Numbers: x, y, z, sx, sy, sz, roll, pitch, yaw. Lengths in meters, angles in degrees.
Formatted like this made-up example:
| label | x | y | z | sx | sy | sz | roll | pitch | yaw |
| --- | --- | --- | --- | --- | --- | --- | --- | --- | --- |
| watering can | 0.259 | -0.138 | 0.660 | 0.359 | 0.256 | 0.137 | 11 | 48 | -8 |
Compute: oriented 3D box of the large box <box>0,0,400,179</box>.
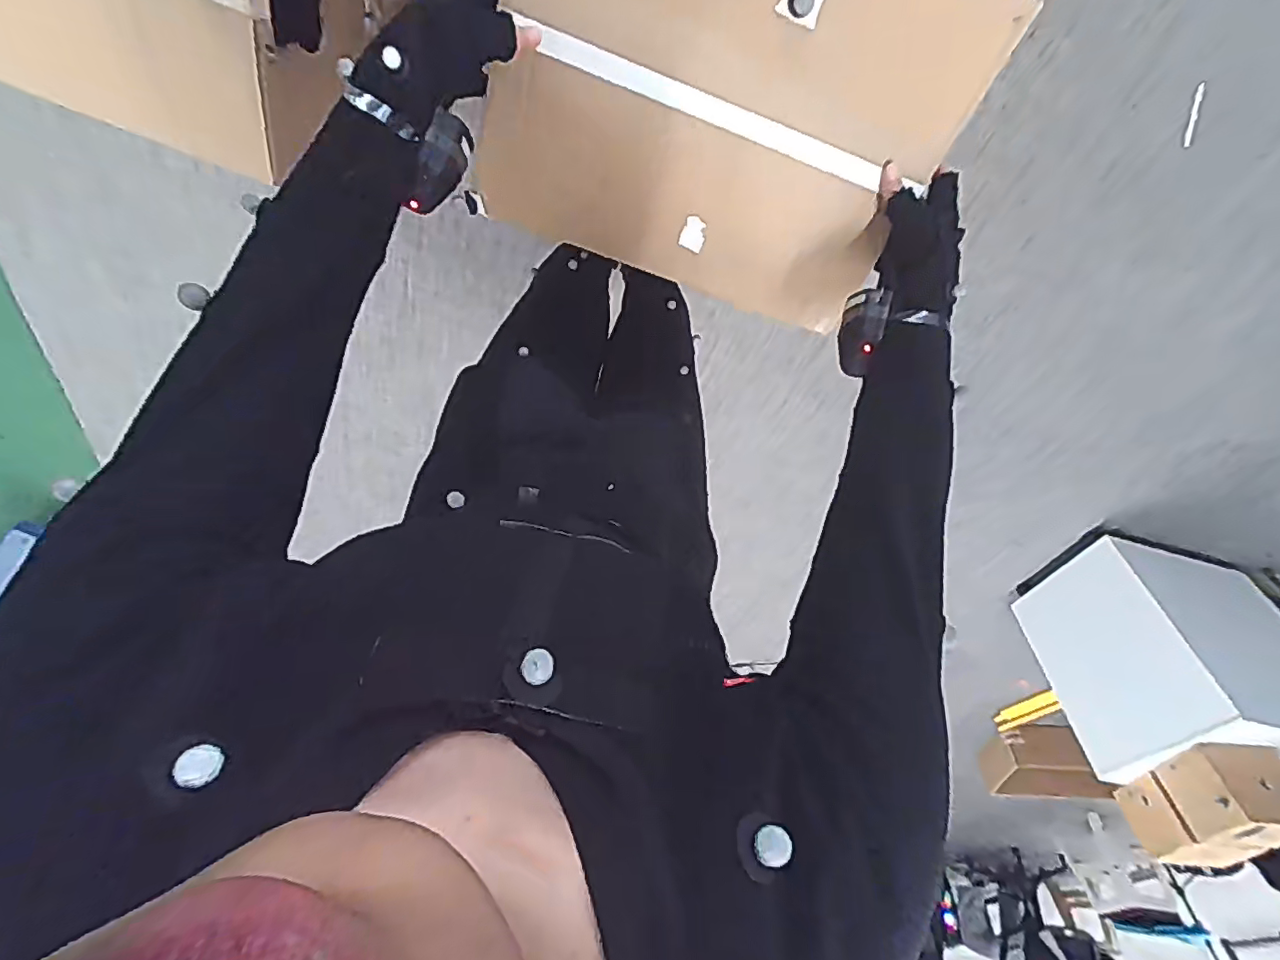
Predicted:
| label | x | y | z | sx | sy | sz | roll | pitch | yaw |
| --- | --- | --- | --- | --- | --- | --- | --- | --- | --- |
| large box | -0.494 | -0.573 | 0.530 | 0.408 | 0.320 | 0.320 | 19 | 134 | -10 |
